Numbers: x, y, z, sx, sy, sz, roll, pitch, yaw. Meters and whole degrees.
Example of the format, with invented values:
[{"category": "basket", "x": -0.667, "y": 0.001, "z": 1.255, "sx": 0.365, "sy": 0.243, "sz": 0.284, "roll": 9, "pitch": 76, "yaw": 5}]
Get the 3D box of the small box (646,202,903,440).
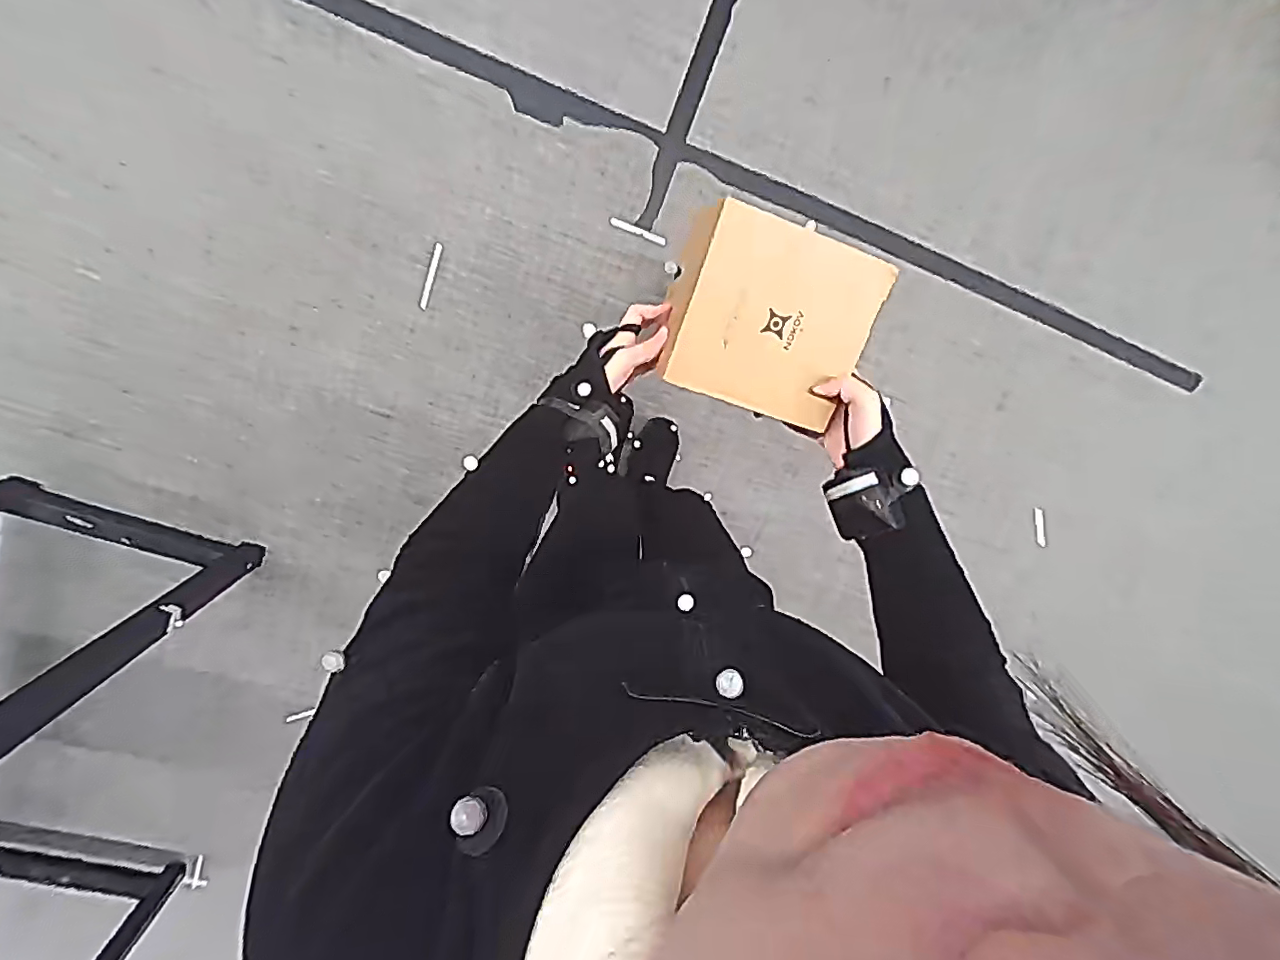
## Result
[{"category": "small box", "x": 0.118, "y": -0.161, "z": 0.556, "sx": 0.179, "sy": 0.176, "sz": 0.168, "roll": 17, "pitch": 107, "yaw": -12}]
